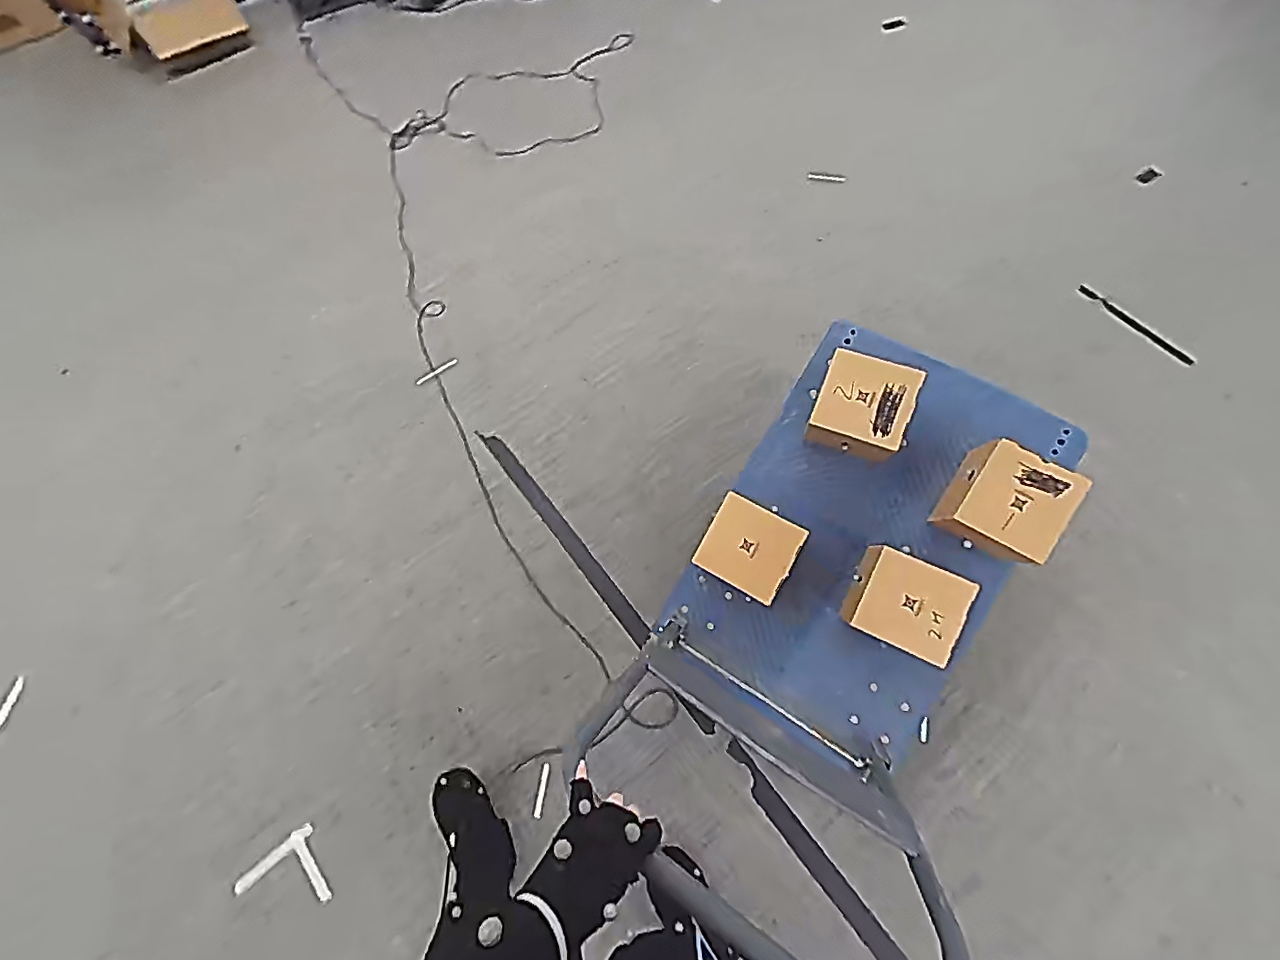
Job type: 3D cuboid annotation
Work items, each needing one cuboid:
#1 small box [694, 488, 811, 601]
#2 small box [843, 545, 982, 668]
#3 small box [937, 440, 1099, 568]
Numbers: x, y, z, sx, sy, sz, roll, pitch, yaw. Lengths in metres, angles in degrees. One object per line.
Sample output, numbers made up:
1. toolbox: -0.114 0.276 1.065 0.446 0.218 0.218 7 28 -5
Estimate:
1. small box: 0.236 0.137 1.142 0.179 0.176 0.168 29 90 14
2. small box: 0.520 0.240 1.062 0.179 0.176 0.168 25 89 15
3. small box: 0.709 0.049 1.041 0.168 0.176 0.179 32 92 15
